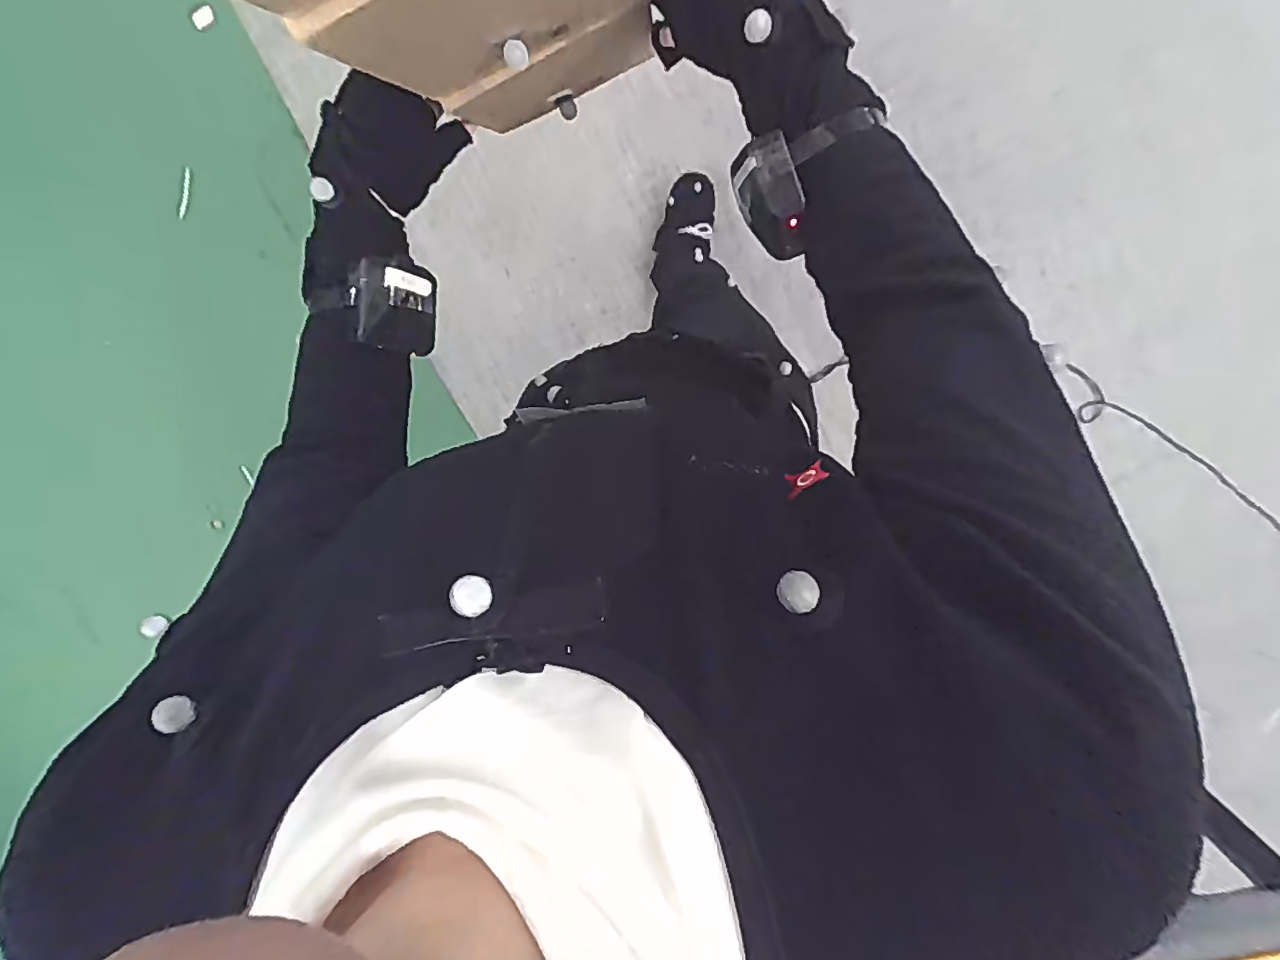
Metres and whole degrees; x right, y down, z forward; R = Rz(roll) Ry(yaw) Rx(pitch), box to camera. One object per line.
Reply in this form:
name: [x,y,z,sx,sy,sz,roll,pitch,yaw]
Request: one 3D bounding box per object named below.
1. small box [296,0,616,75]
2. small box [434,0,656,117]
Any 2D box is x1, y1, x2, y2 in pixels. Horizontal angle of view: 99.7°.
small box: [-0.105,-0.345,0.267,0.168,0.176,0.179,-15,115,12]
small box: [-0.094,-0.416,0.415,0.168,0.176,0.179,-19,115,14]
